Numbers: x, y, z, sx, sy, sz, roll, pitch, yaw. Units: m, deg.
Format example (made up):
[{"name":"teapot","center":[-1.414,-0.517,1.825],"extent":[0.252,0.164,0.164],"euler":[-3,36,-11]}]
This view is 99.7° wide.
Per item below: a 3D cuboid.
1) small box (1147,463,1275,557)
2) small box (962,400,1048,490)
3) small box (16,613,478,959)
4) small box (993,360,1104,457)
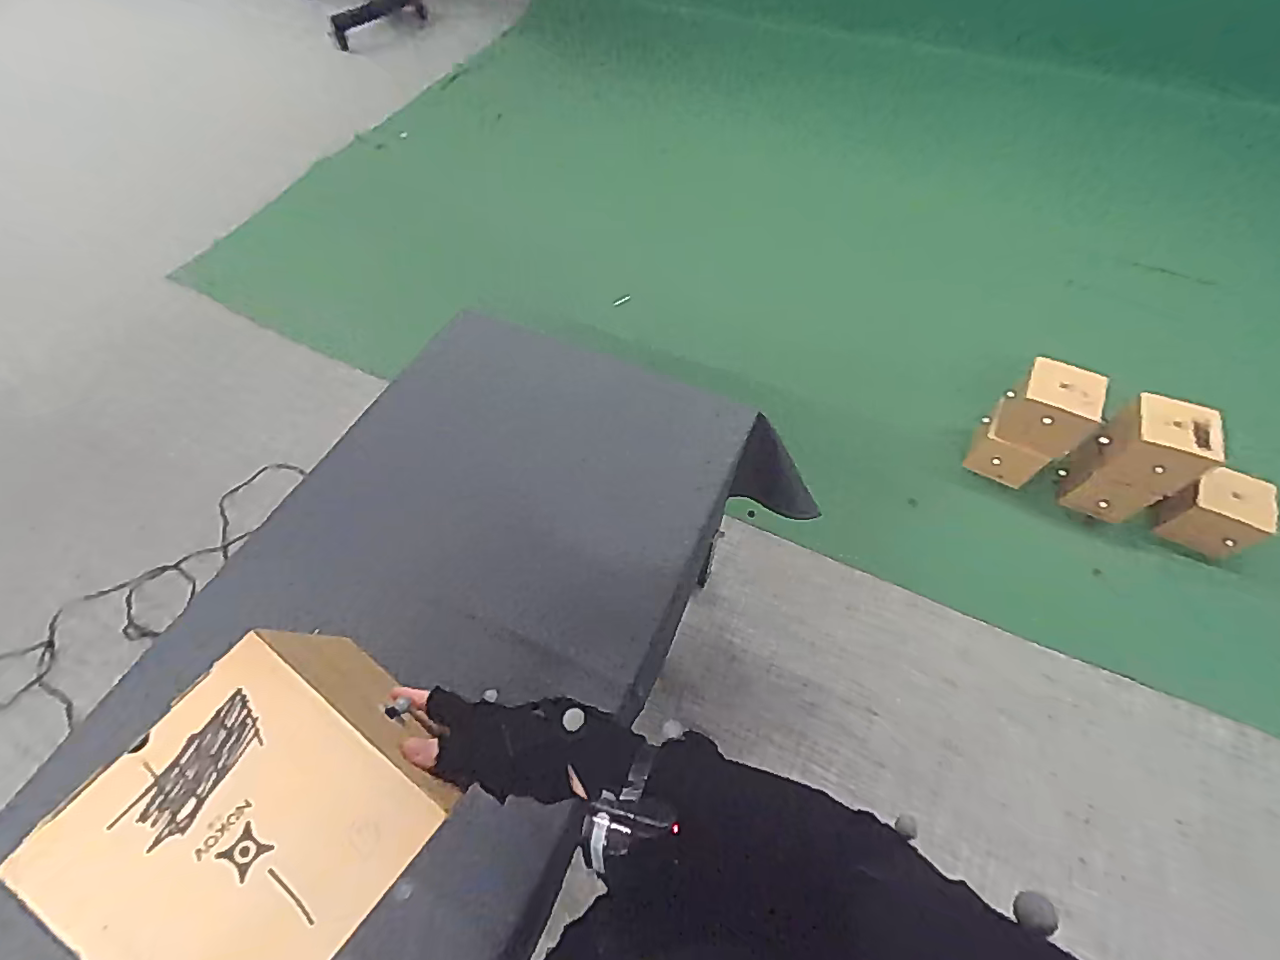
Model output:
[{"name":"small box","center":[1.559,0.089,1.482],"extent":[0.179,0.176,0.168],"euler":[26,63,16]},{"name":"small box","center":[1.096,-0.100,1.612],"extent":[0.168,0.176,0.179],"euler":[27,63,17]},{"name":"small box","center":[-0.244,0.223,0.392],"extent":[0.179,0.176,0.168],"euler":[40,71,6]},{"name":"small box","center":[1.104,-0.190,1.473],"extent":[0.179,0.176,0.168],"euler":[26,63,17]}]
